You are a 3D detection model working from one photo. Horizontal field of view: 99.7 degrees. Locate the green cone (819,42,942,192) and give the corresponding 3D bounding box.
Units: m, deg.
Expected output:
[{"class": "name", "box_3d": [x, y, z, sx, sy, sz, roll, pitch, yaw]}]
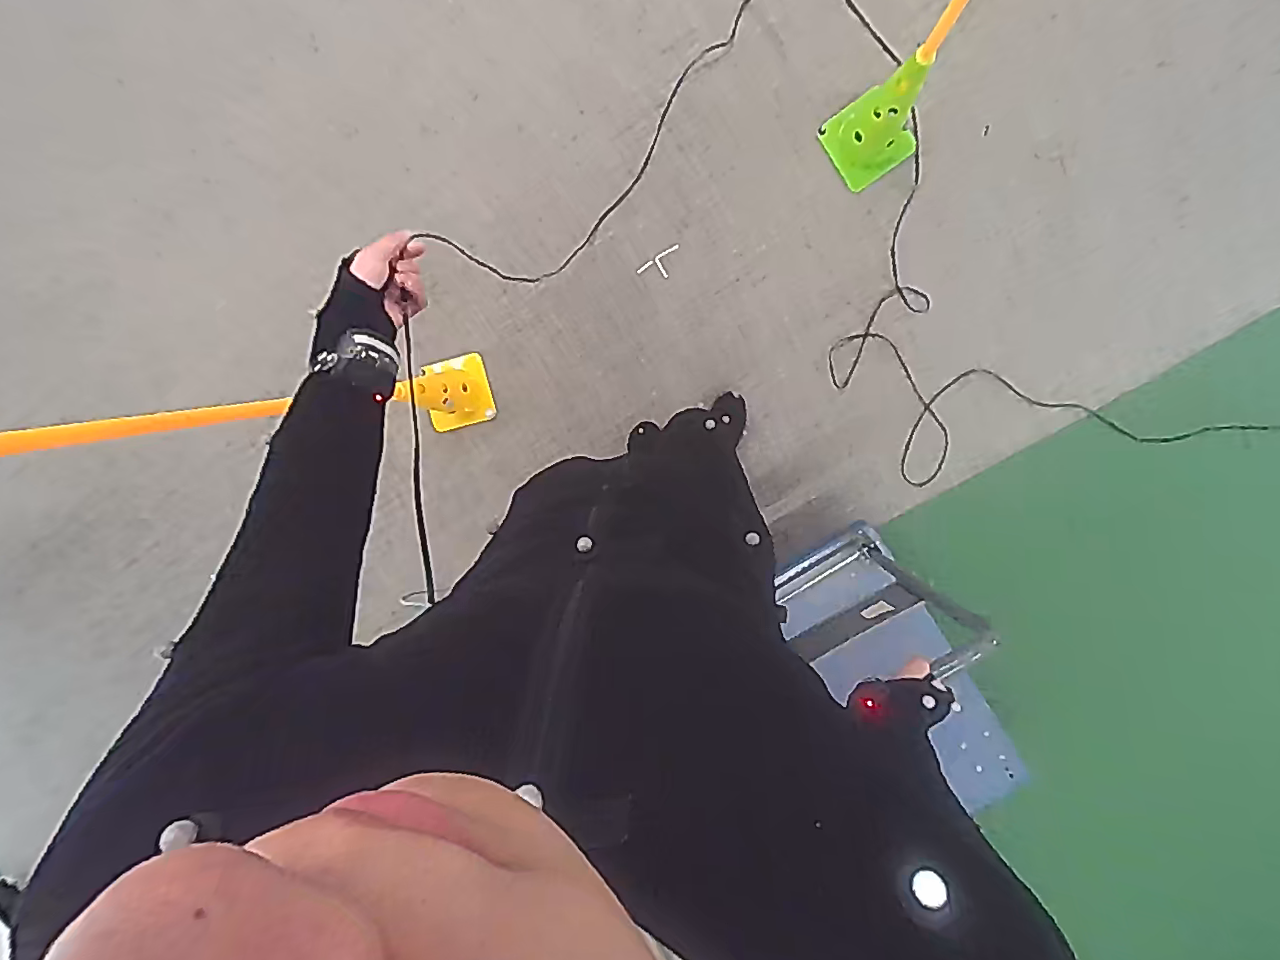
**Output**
[{"class": "green cone", "box_3d": [0.590, -0.871, 1.255, 0.202, 0.368, 0.200, -35, 95, 7]}]
